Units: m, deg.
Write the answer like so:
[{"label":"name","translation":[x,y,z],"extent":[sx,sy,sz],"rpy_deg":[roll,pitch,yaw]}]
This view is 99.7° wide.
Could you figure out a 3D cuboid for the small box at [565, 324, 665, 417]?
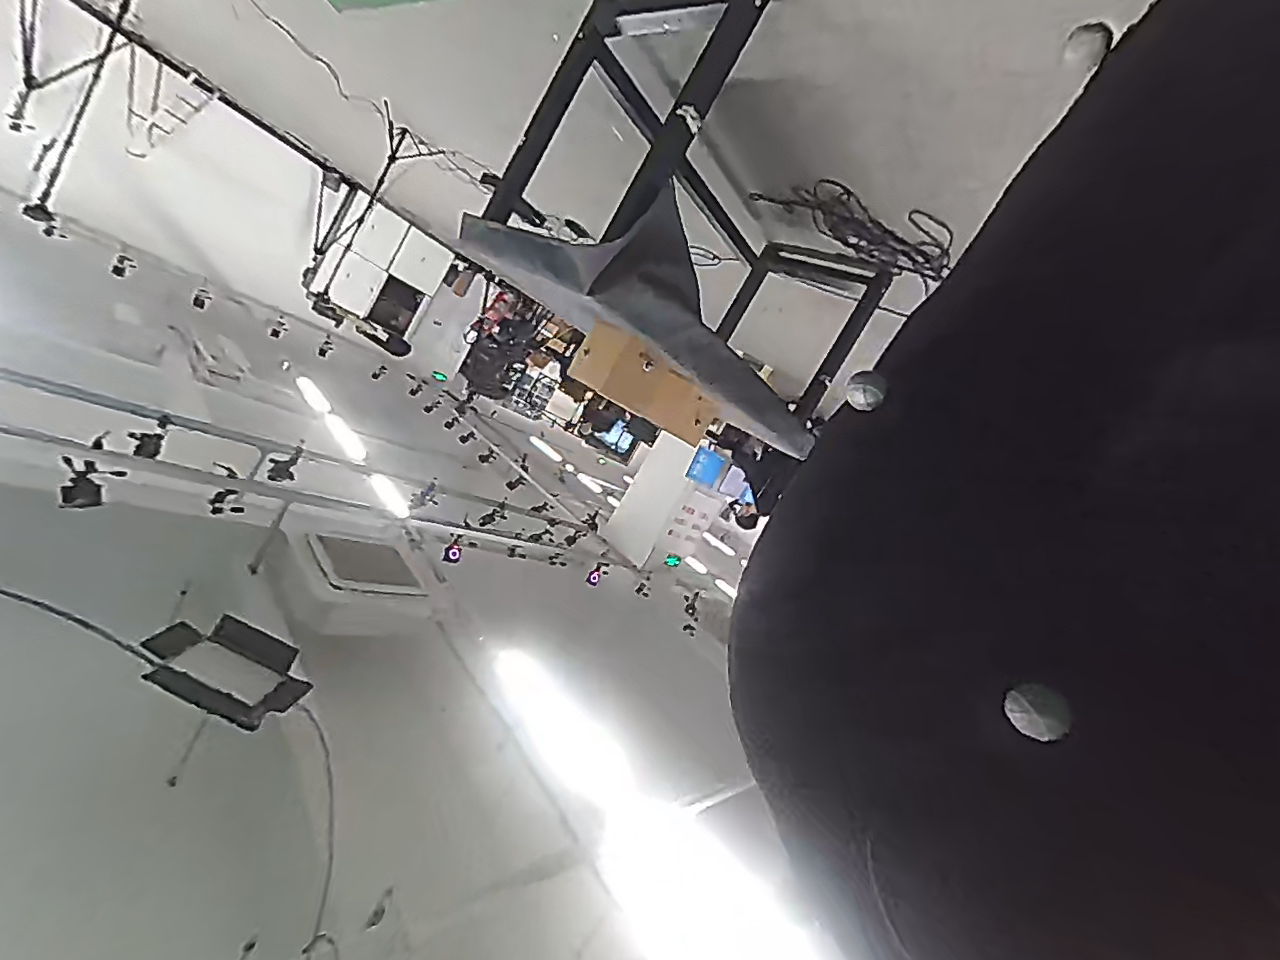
[{"label":"small box","translation":[-0.064,-0.298,1.450],"extent":[0.168,0.176,0.179],"rpy_deg":[23,-171,-44]}]

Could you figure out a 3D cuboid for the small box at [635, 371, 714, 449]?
[{"label":"small box","translation":[0.112,-0.227,1.714],"extent":[0.168,0.176,0.179],"rpy_deg":[24,-171,-46]}]
